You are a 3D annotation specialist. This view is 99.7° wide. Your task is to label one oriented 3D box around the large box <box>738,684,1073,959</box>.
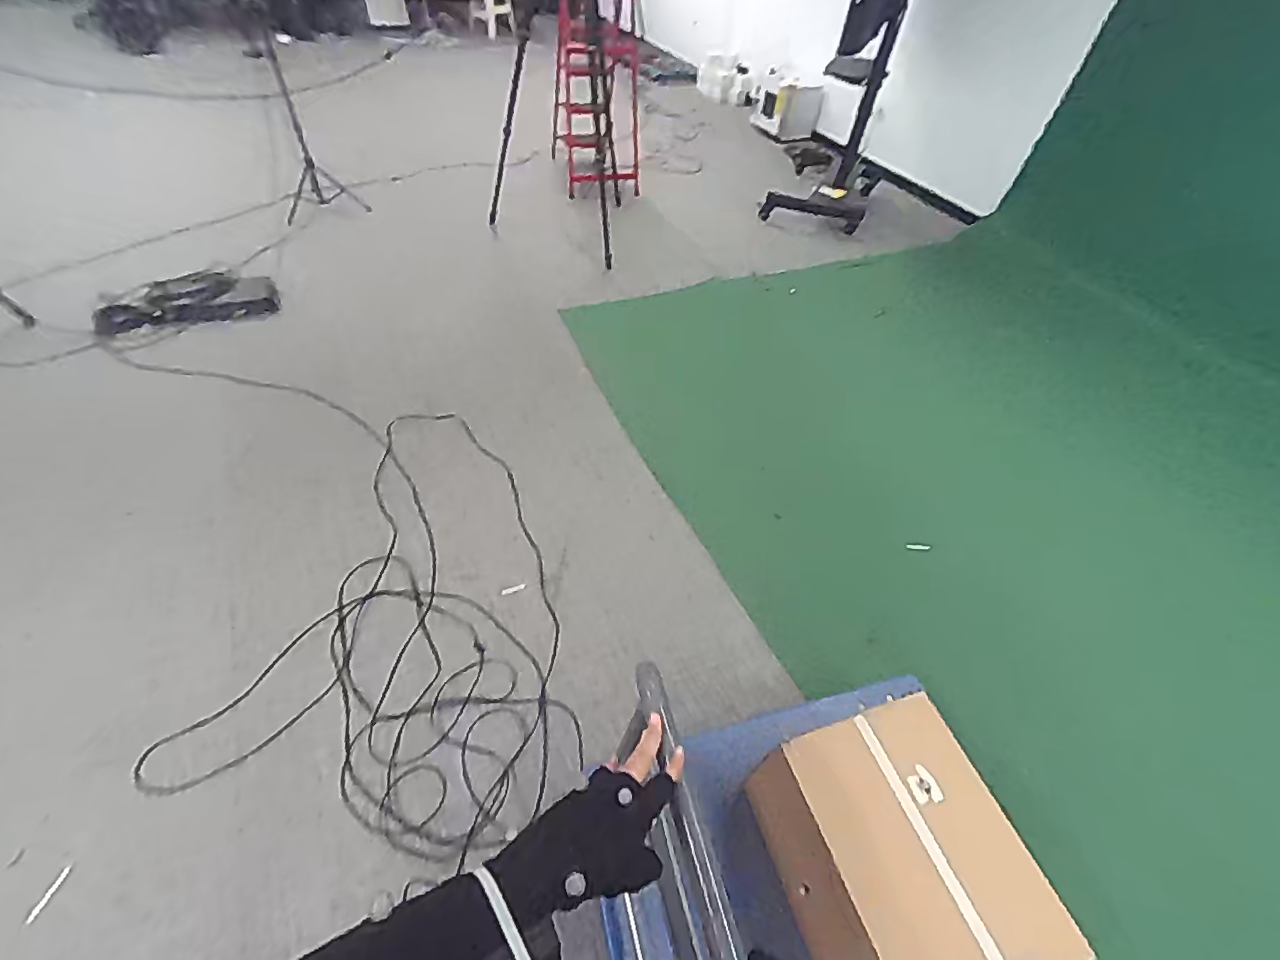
[{"bbox_3d":[0.428,0.661,0.991,0.320,0.320,0.408,-11,51,-17],"label":"large box"}]
